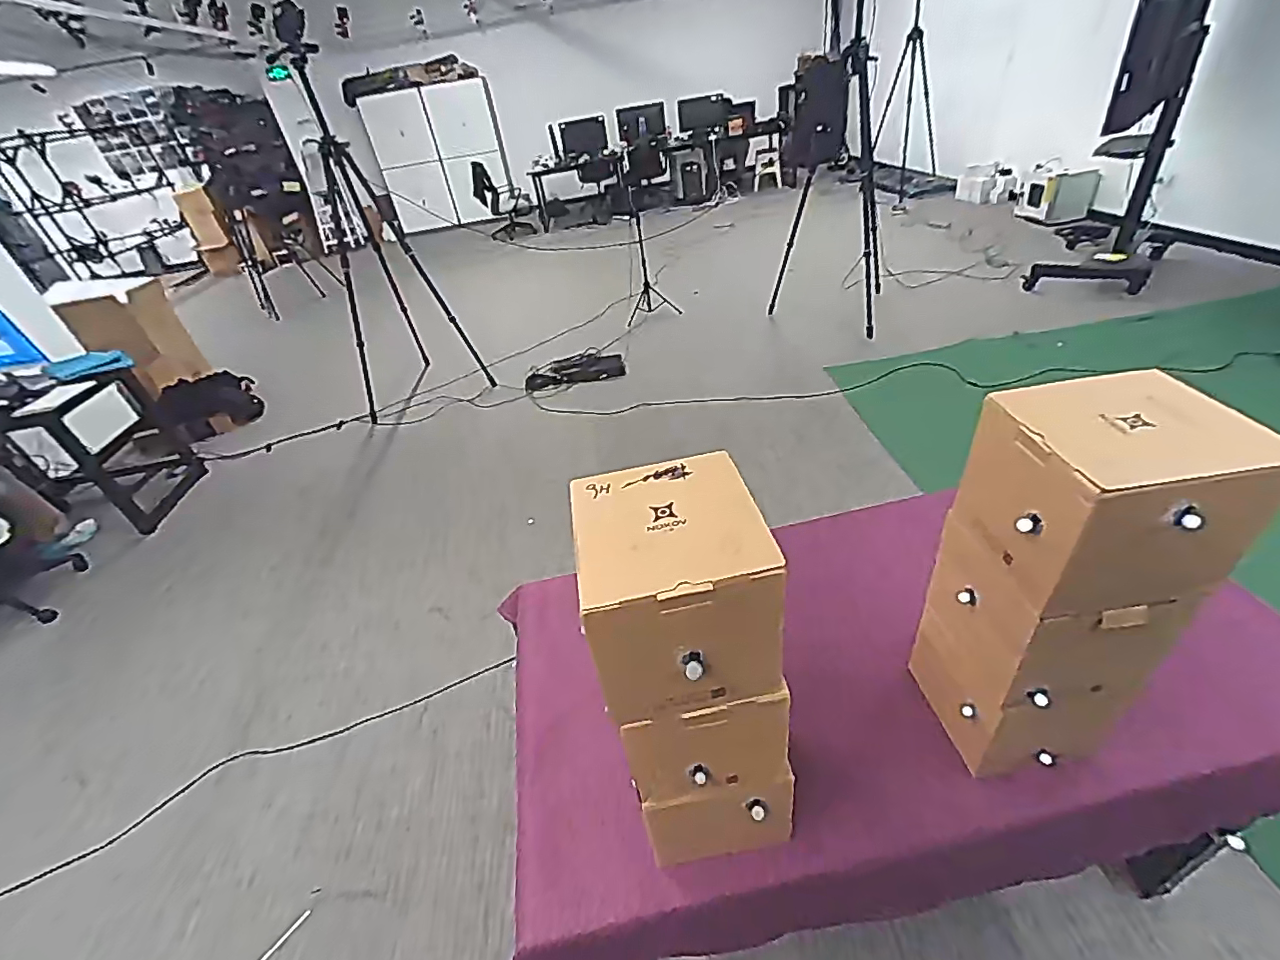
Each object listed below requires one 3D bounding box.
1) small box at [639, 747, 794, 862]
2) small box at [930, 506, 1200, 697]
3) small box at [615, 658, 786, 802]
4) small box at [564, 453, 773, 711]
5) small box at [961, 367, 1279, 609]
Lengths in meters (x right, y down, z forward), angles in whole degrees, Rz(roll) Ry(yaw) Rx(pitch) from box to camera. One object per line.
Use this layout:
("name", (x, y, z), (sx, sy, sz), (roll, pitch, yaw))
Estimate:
("small box", (0.090, 0.368, 0.712), (0.179, 0.176, 0.168), (-12, 35, 0))
("small box", (0.474, 0.136, 0.642), (0.168, 0.176, 0.179), (-10, 35, 2))
("small box", (0.060, 0.233, 0.625), (0.168, 0.176, 0.179), (-11, 37, 0))
("small box", (0.027, 0.103, 0.530), (0.168, 0.176, 0.179), (-12, 37, -2))
("small box", (0.451, 0.010, 0.540), (0.179, 0.176, 0.168), (-9, 38, 3))
